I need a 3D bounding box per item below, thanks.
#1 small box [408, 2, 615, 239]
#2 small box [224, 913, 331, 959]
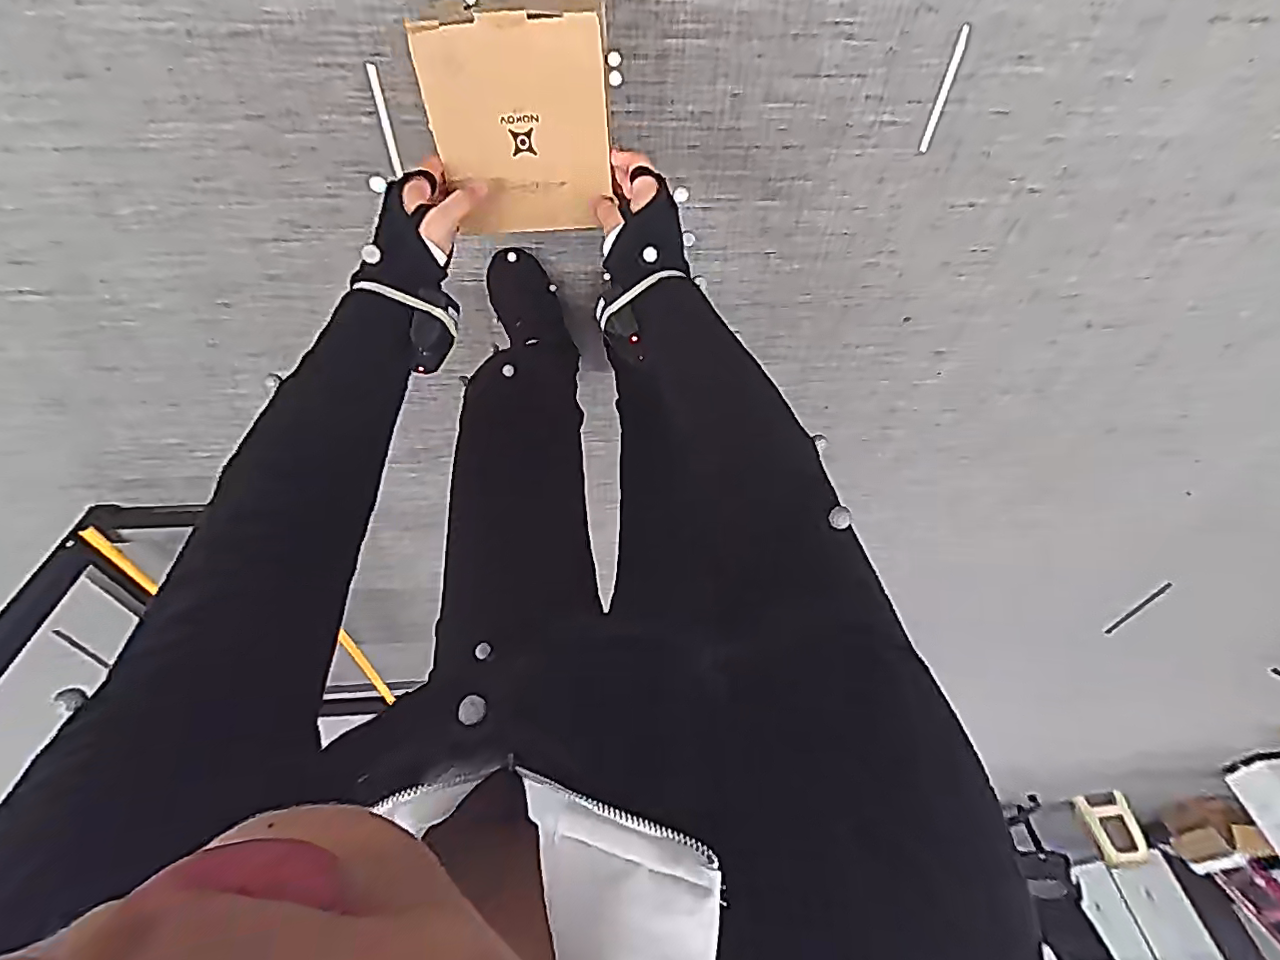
[{"bbox_3d":[-0.116,-0.380,0.569,0.168,0.176,0.179,-3,137,1],"label":"small box"},{"bbox_3d":[-0.915,1.201,1.349,0.179,0.176,0.168,-1,137,-3],"label":"small box"}]
